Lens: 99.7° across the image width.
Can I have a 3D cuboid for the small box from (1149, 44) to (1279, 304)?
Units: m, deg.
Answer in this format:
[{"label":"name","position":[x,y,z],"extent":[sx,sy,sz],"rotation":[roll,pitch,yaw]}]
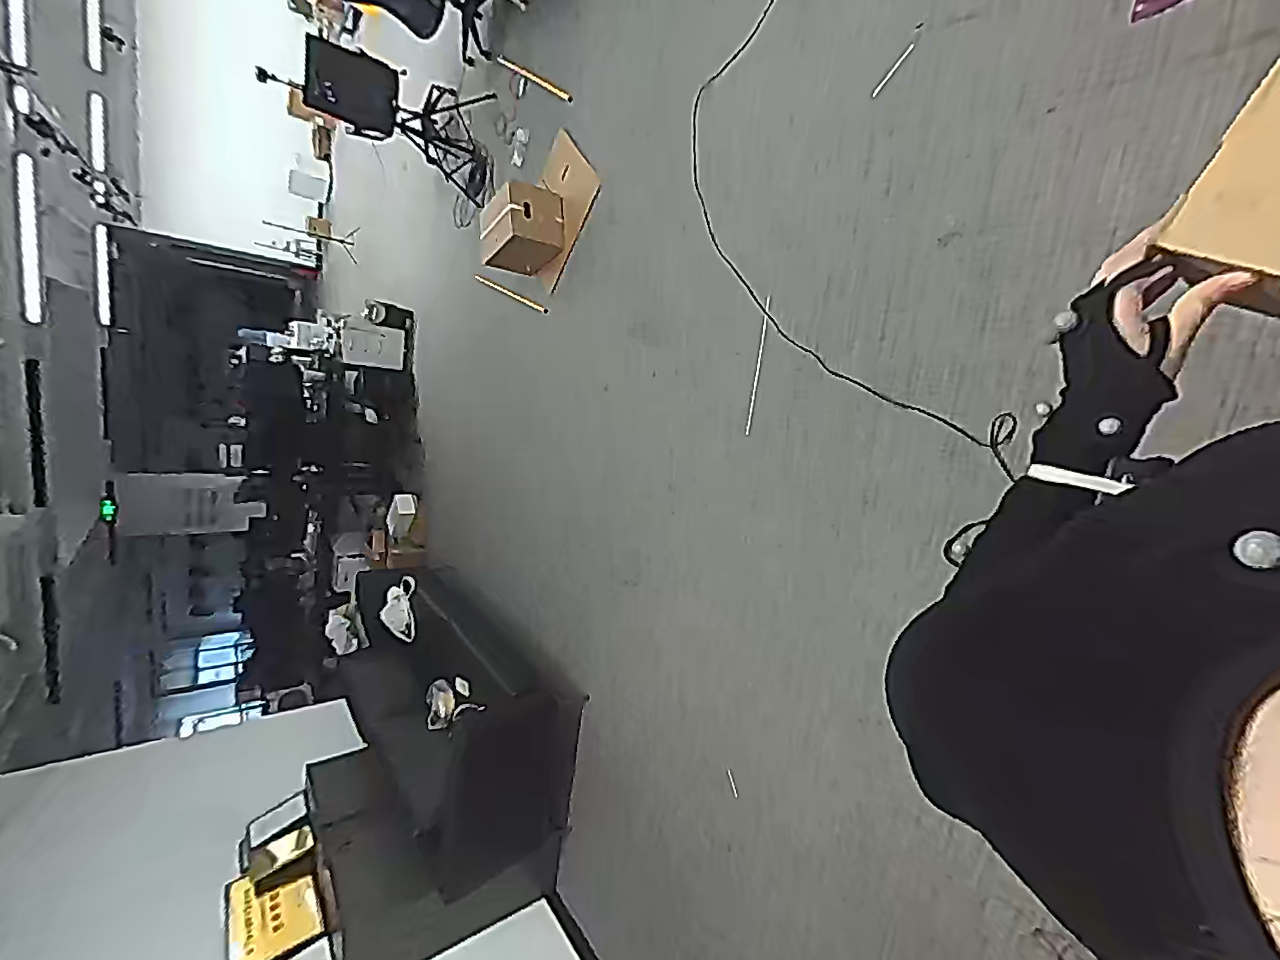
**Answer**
[{"label":"small box","position":[0.465,-0.182,0.305],"extent":[0.179,0.176,0.168],"rotation":[52,129,43]}]
